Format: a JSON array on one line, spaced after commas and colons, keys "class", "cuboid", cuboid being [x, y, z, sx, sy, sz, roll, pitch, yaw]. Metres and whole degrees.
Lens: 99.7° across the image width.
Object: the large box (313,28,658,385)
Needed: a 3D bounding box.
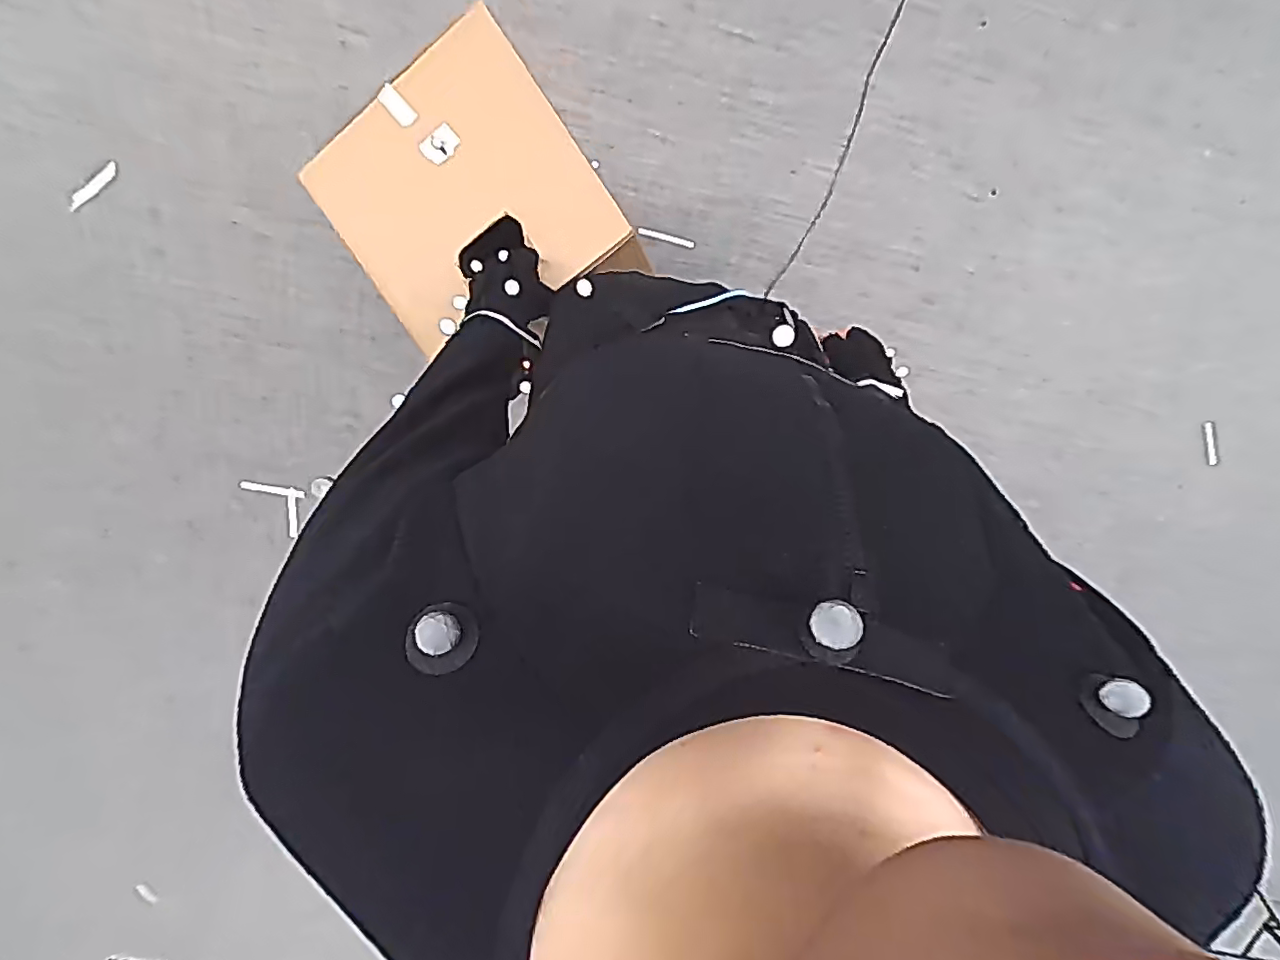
[{"class": "large box", "cuboid": [-0.197, -0.375, 0.865, 0.320, 0.408, 0.320, -33, 97, 12]}]
